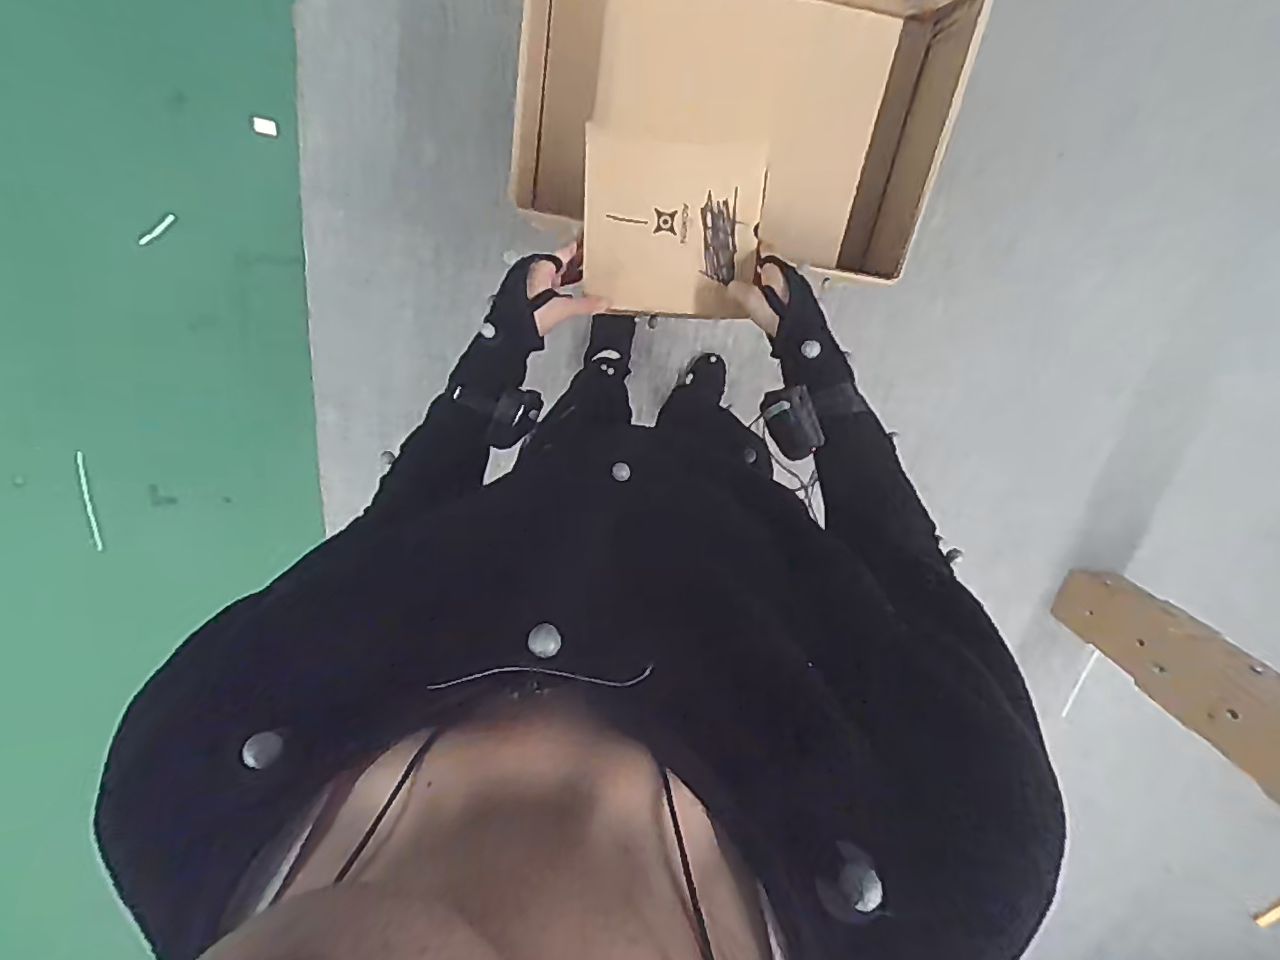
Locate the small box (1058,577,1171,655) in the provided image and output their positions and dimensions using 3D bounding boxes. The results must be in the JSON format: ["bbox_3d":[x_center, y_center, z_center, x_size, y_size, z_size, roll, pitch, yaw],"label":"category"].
[{"bbox_3d":[1.425,0.413,1.637,0.168,0.176,0.179,7,111,-3],"label":"small box"}]

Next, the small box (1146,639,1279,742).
[{"bbox_3d":[1.414,0.519,1.327,0.168,0.176,0.179,5,111,-2],"label":"small box"}]

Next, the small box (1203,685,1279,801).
[{"bbox_3d":[1.413,0.570,1.173,0.179,0.176,0.168,6,110,-1],"label":"small box"}]

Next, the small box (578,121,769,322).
[{"bbox_3d":[0.025,-0.266,0.596,0.179,0.176,0.168,2,104,-4],"label":"small box"}]

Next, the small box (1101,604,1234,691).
[{"bbox_3d":[1.428,0.460,1.479,0.168,0.176,0.179,8,110,-2],"label":"small box"}]
